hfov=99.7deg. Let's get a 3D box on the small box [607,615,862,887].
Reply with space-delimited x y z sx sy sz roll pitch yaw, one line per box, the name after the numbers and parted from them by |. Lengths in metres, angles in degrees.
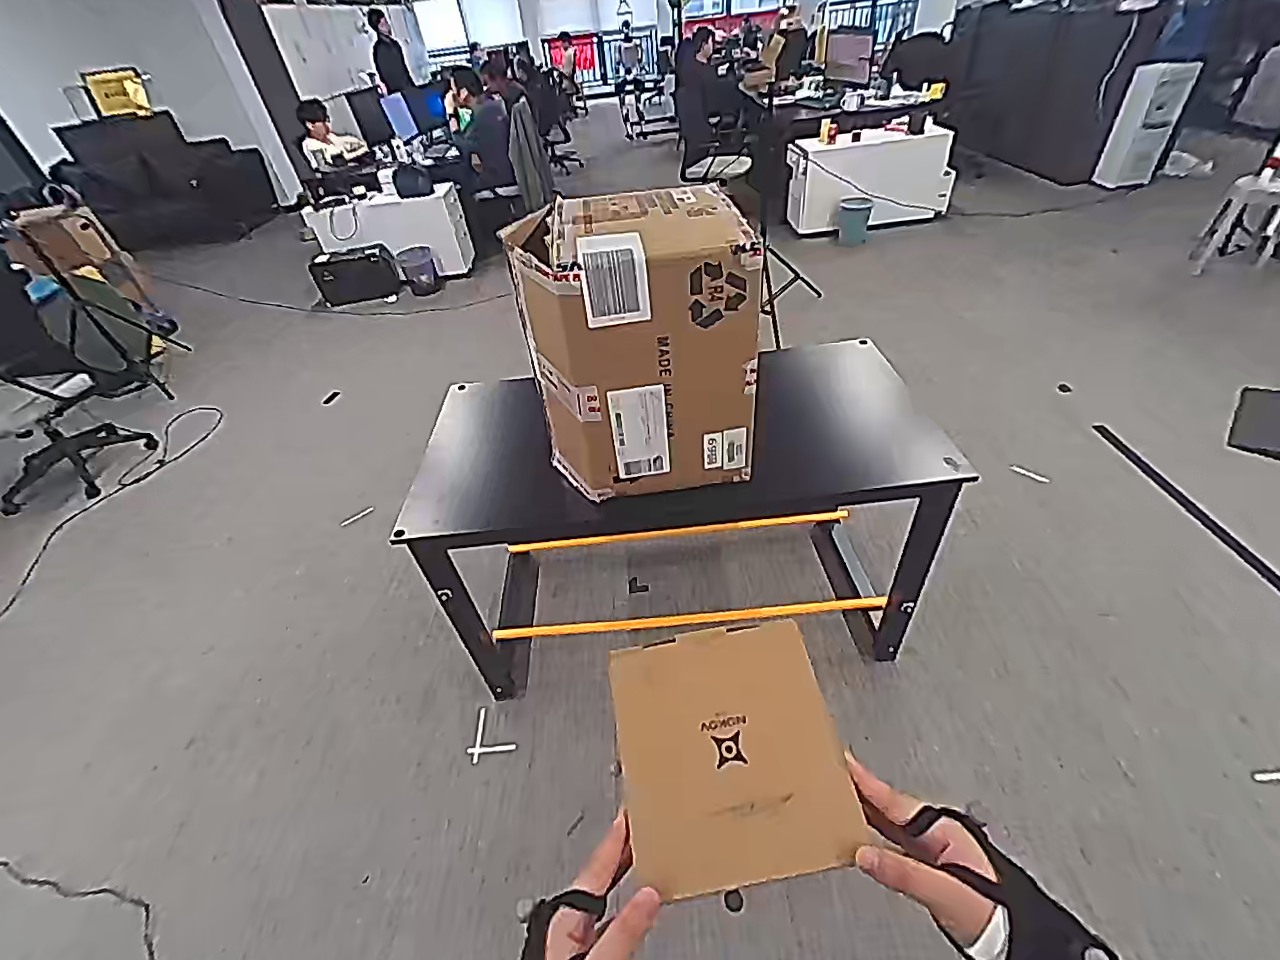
0.067 0.245 0.484 0.168 0.176 0.179 -10 54 -2 | small box
